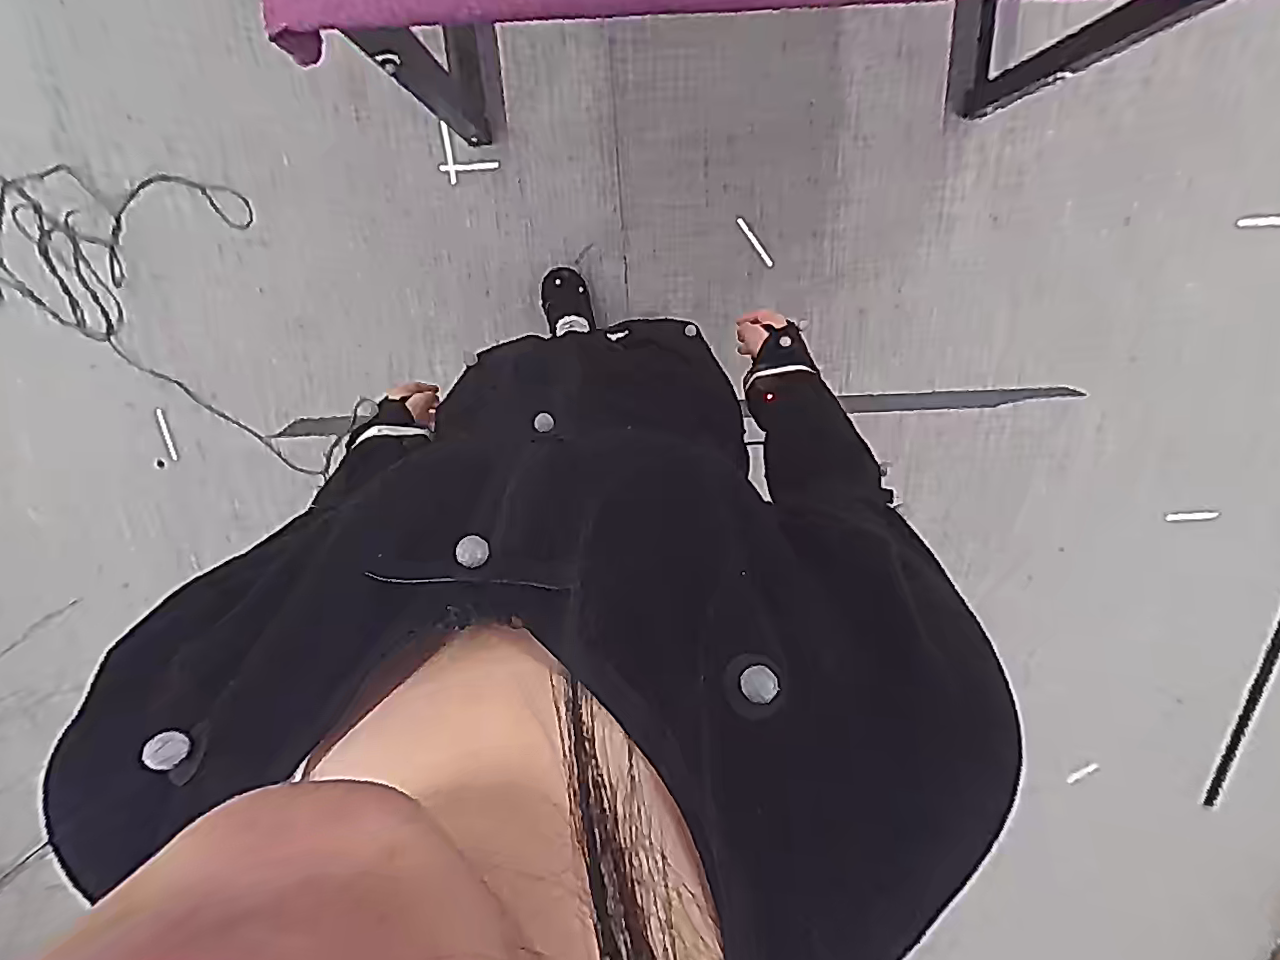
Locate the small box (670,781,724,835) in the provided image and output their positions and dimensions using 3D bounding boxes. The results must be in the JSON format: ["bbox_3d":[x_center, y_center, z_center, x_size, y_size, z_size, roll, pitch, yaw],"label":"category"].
[{"bbox_3d":[0.195,1.170,1.870,0.168,0.176,0.179,-7,110,1],"label":"small box"}]

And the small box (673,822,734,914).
[{"bbox_3d":[0.199,1.229,1.716,0.168,0.176,0.179,-8,111,1],"label":"small box"}]
